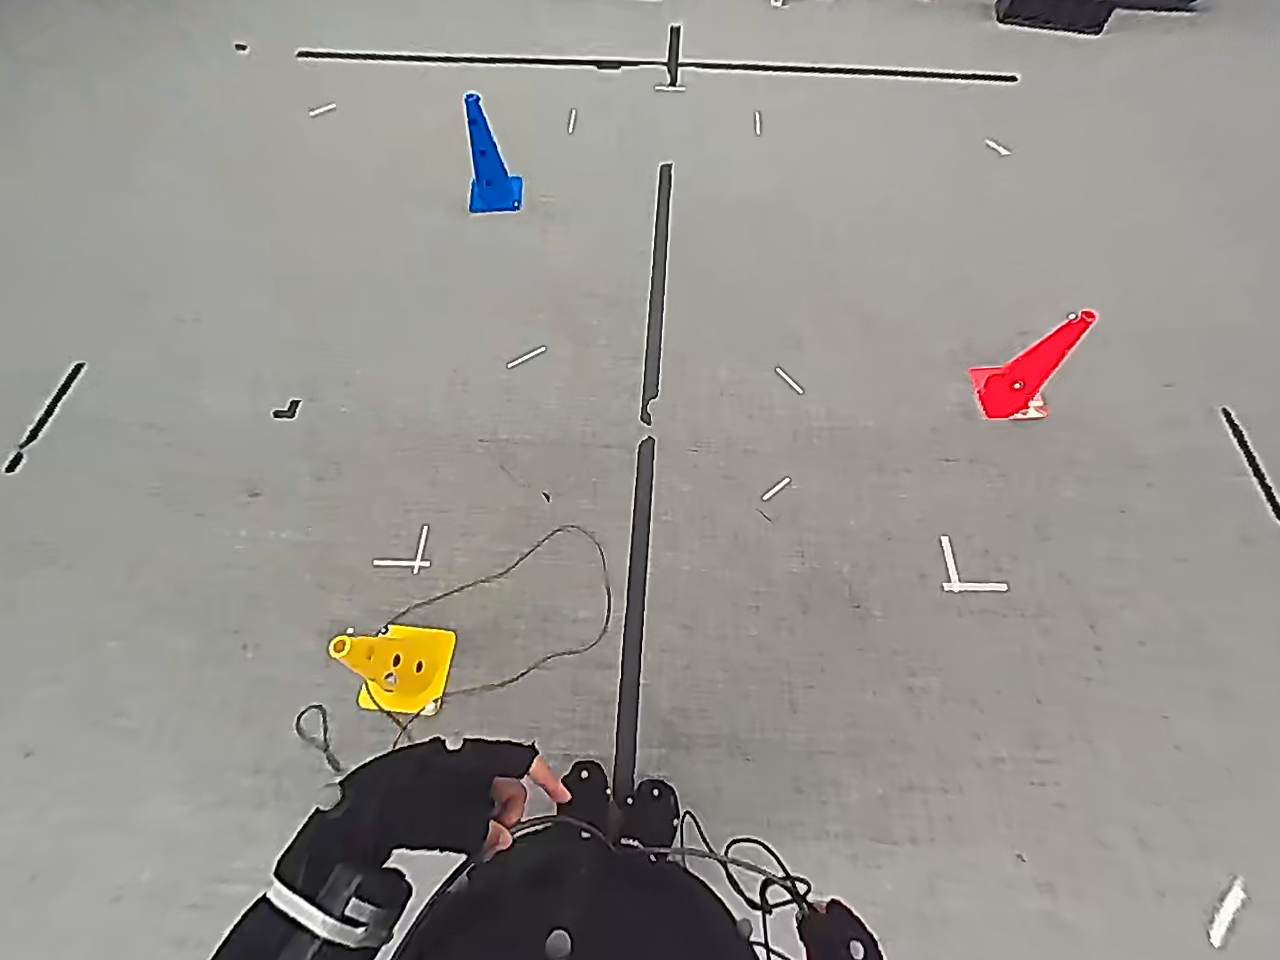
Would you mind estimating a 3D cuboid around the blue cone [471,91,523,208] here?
[{"bbox_3d":[-0.555,-1.197,1.958,0.192,0.380,0.193,-2,64,-1],"label":"blue cone"}]

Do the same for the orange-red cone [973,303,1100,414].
[{"bbox_3d":[1.175,-0.370,1.562,0.198,0.360,0.199,-1,63,-1],"label":"orange-red cone"}]
